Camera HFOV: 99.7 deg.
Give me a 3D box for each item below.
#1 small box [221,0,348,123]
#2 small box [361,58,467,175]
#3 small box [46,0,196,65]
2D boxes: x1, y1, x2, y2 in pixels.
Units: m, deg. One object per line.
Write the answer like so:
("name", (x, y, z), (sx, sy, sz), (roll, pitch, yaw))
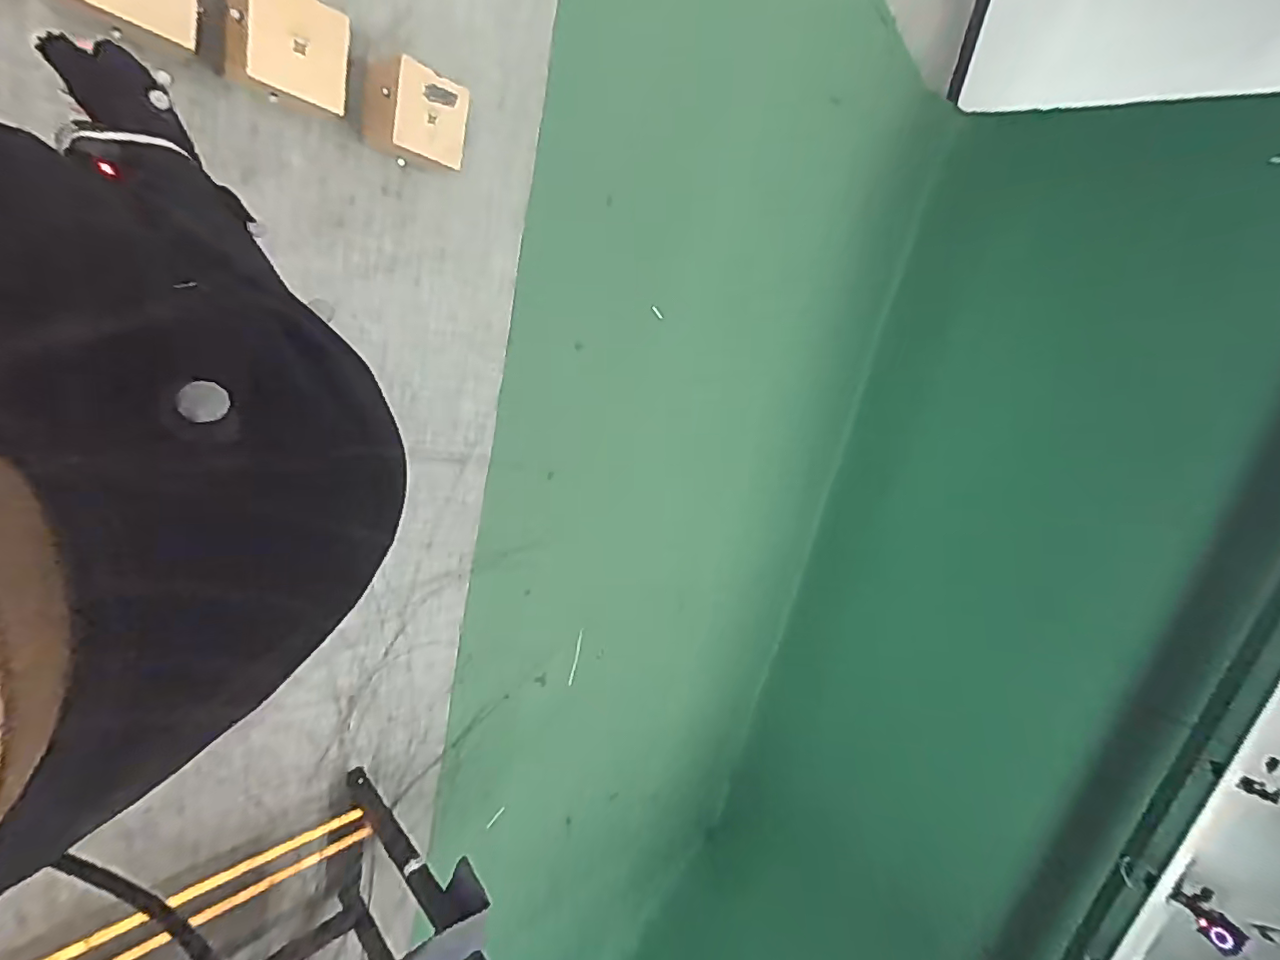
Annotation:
("small box", (-0.698, -0.829, 1.059), (0.168, 0.176, 0.179), (-6, 113, -50))
("small box", (-0.531, -0.836, 1.262), (0.168, 0.176, 0.179), (-5, 114, -50))
("small box", (-0.845, -0.818, 0.879), (0.168, 0.176, 0.179), (-3, 111, -51))
